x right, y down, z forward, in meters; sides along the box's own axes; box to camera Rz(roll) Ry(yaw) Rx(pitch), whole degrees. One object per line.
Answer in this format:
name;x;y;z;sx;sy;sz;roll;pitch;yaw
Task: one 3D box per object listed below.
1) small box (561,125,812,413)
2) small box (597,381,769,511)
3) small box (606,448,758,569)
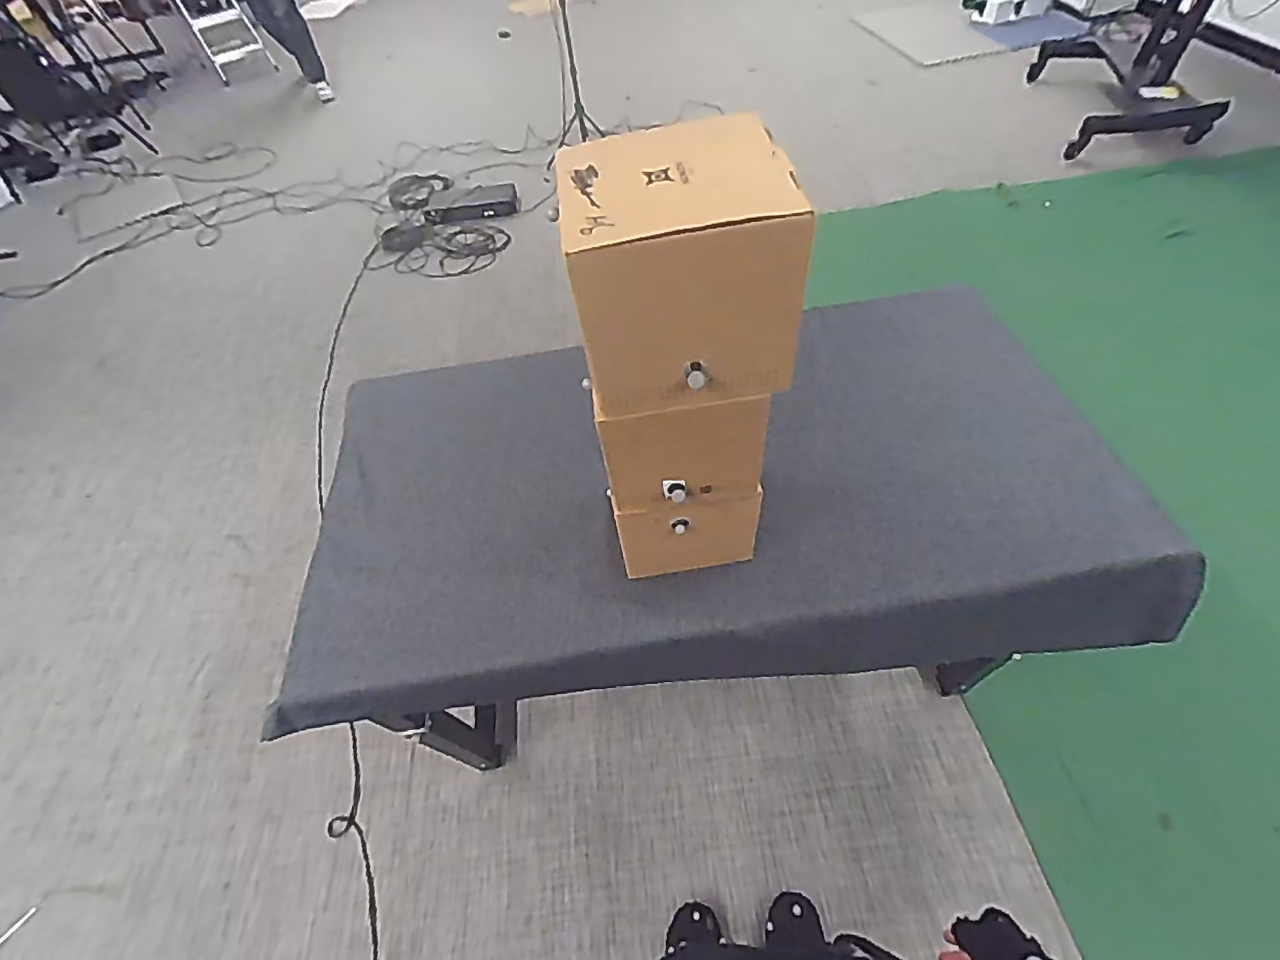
small box;0.032;-0.182;0.484;0.179;0.176;0.168;-9;53;1
small box;0.040;-0.089;0.619;0.168;0.176;0.179;-9;55;1
small box;0.053;0.009;0.747;0.179;0.176;0.168;-9;54;-1
